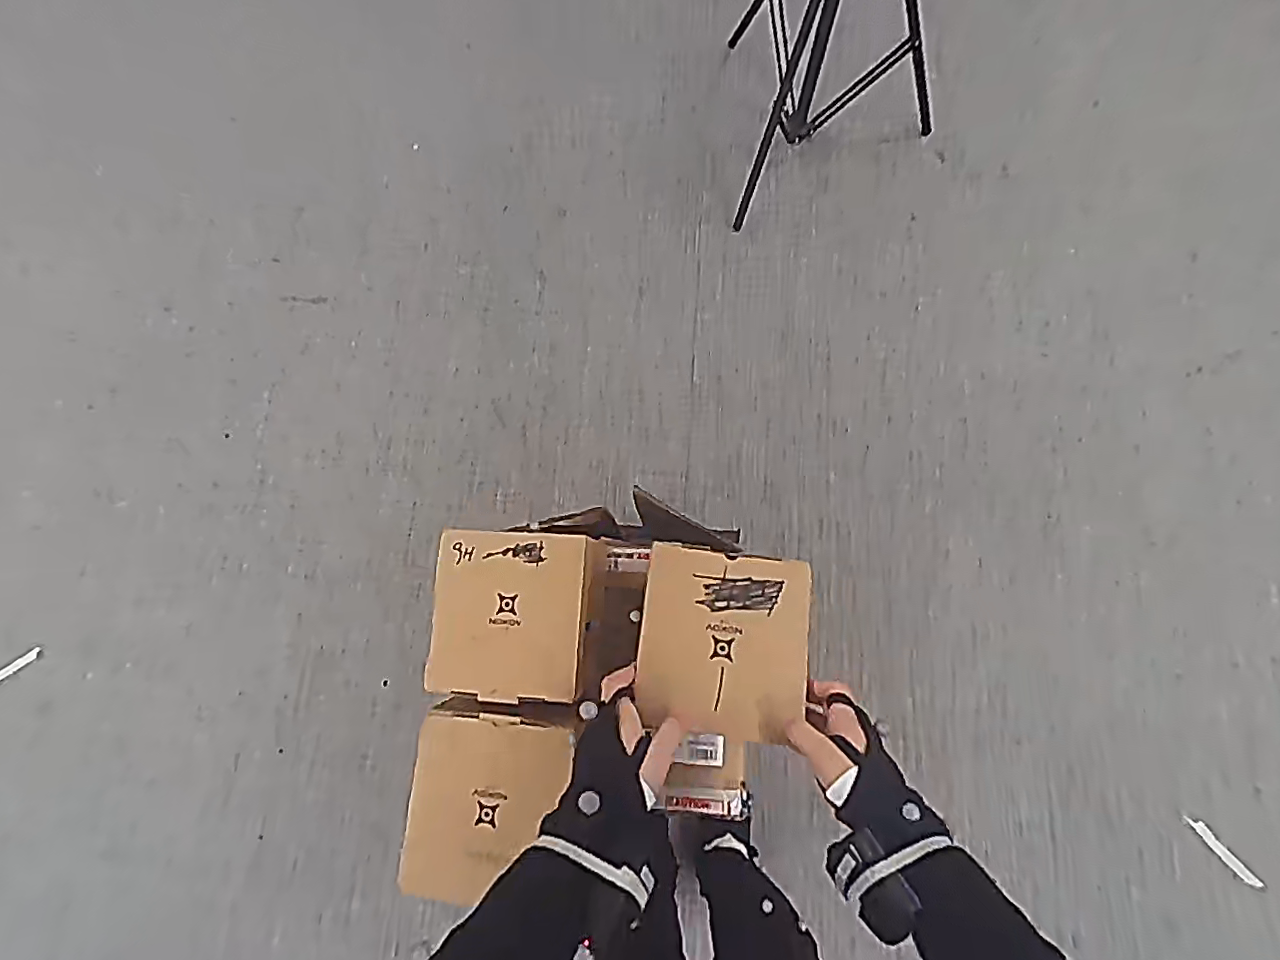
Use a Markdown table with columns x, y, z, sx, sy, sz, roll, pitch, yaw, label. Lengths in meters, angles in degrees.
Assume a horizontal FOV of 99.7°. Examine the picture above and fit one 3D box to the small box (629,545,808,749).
| x | y | z | sx | sy | sz | roll | pitch | yaw | label |
| --- | --- | --- | --- | --- | --- | --- | --- | --- | --- |
| 0.079 | 0.182 | 0.607 | 0.168 | 0.176 | 0.179 | 7 | 73 | 2 | small box |
